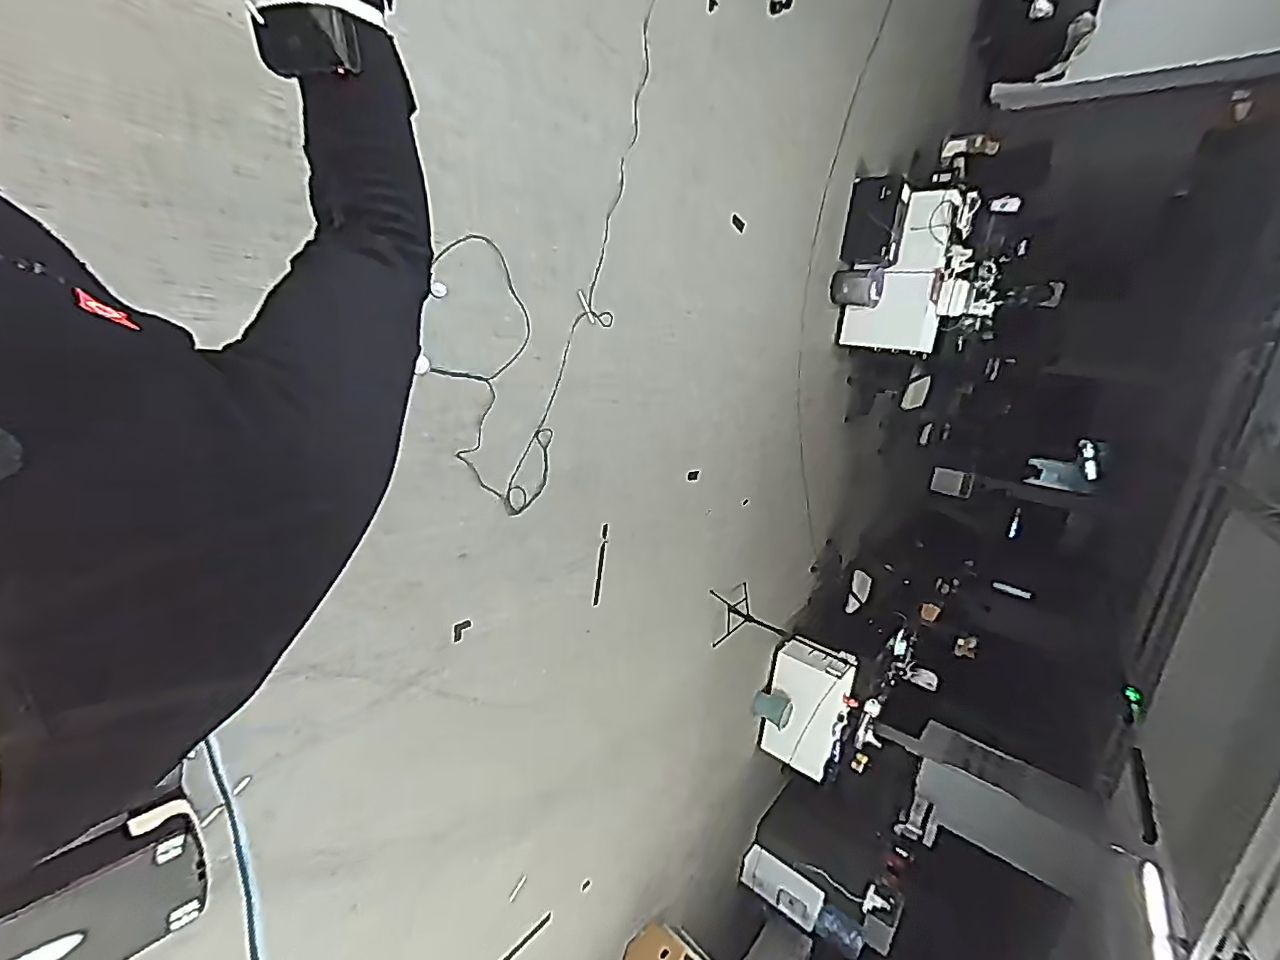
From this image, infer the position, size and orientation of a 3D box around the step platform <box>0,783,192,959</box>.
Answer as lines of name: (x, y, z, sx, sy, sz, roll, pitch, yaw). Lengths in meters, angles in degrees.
step platform: (-1.317, 0.929, 1.055, 0.684, 0.204, 0.286, -14, 115, -48)
